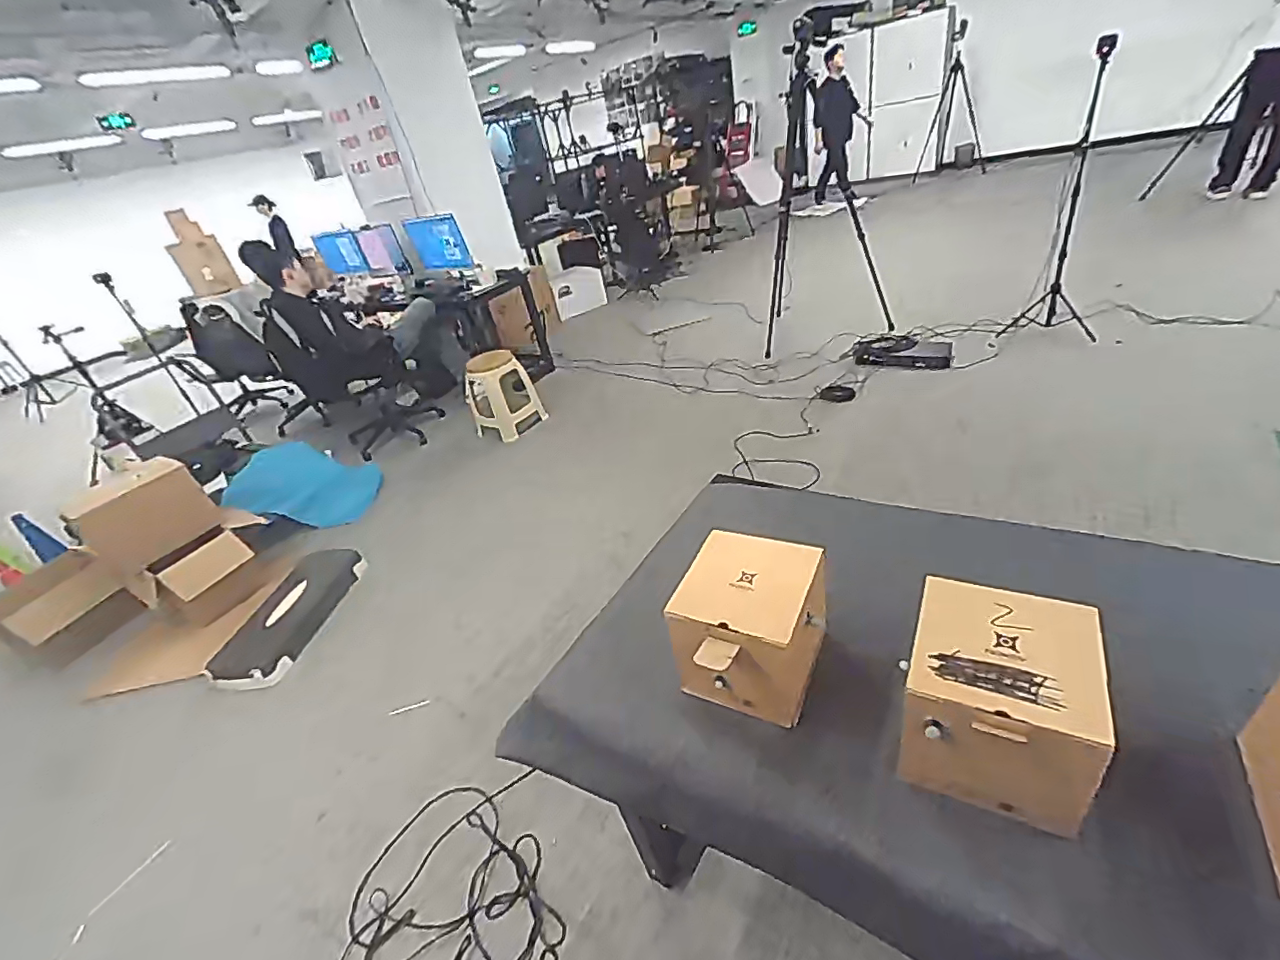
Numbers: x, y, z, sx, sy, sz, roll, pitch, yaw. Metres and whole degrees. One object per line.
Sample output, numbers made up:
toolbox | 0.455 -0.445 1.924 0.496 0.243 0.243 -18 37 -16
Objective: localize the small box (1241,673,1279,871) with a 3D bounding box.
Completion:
small box | 0.668 0.273 0.453 0.168 0.176 0.179 9 38 30

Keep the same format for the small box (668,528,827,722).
small box | 0.158 0.197 0.760 0.168 0.176 0.179 8 38 29
